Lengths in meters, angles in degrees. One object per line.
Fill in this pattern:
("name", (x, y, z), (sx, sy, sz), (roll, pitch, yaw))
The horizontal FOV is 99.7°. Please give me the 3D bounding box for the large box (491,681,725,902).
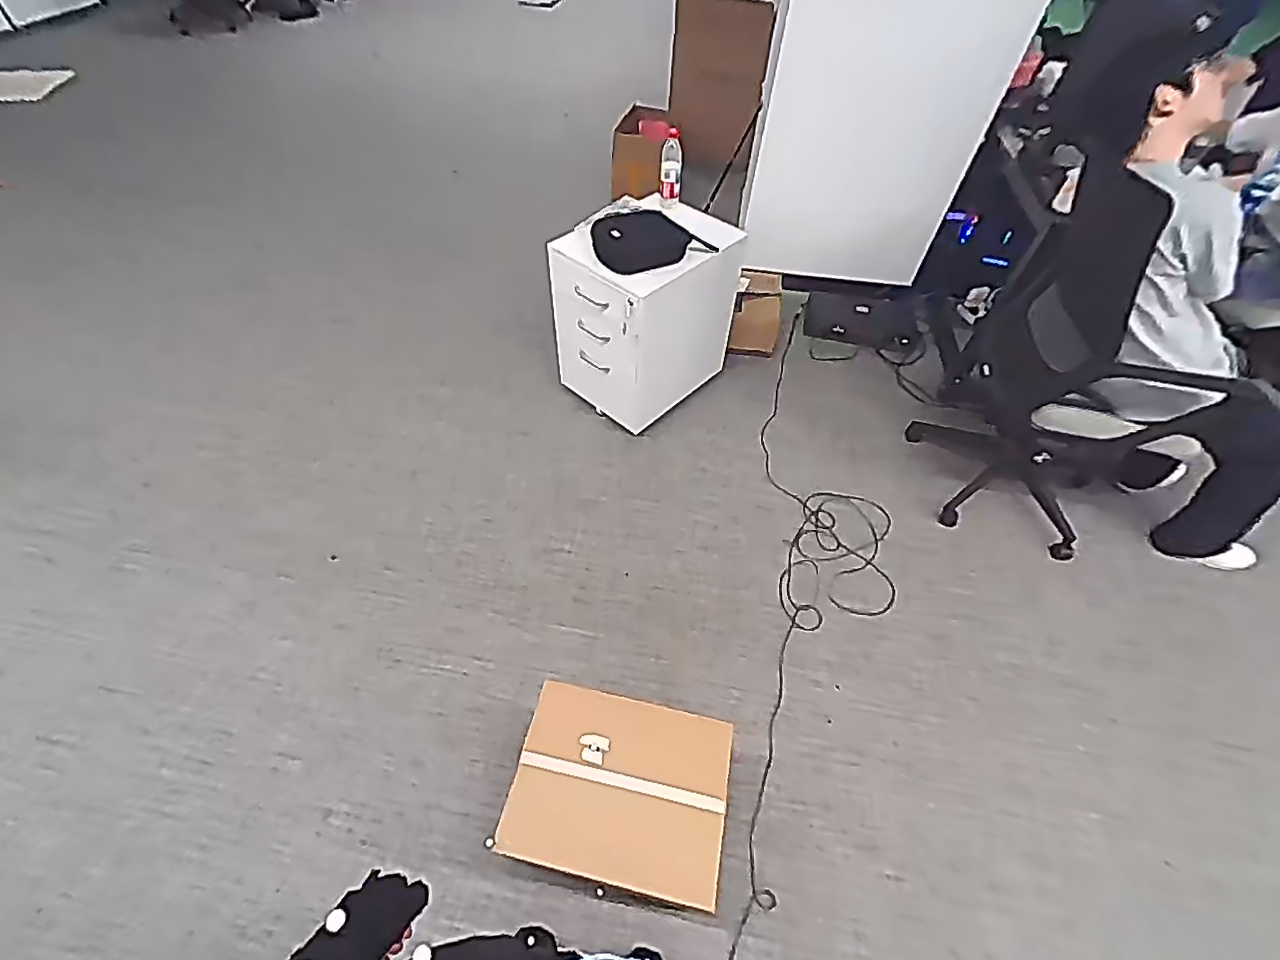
("large box", (-0.049, 0.668, 1.159), (0.408, 0.320, 0.320), (11, 52, 6))
